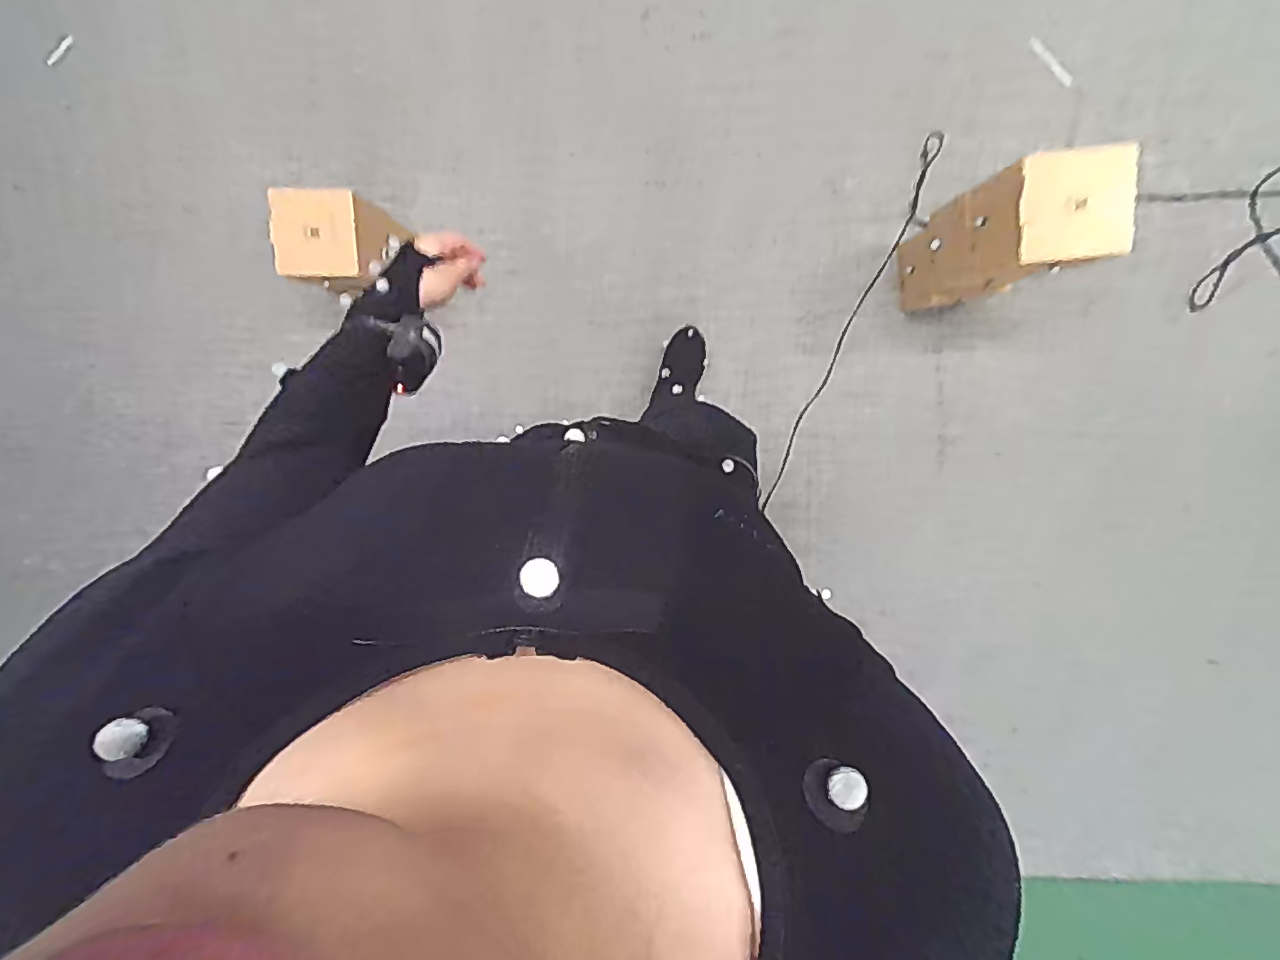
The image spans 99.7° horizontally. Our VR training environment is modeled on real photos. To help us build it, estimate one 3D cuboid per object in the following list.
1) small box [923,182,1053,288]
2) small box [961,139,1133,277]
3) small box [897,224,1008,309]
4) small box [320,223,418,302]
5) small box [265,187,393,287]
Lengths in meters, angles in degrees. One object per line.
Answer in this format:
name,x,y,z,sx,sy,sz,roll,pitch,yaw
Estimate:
small box,0.706,-0.494,1.099,0.179,0.176,0.168,-4,99,4
small box,0.694,-0.461,0.940,0.179,0.176,0.168,-5,99,4
small box,0.719,-0.504,1.263,0.179,0.176,0.168,-7,100,4
small box,-0.662,-0.537,1.327,0.168,0.176,0.179,1,100,2
small box,-0.660,-0.516,1.165,0.179,0.176,0.168,1,101,2
